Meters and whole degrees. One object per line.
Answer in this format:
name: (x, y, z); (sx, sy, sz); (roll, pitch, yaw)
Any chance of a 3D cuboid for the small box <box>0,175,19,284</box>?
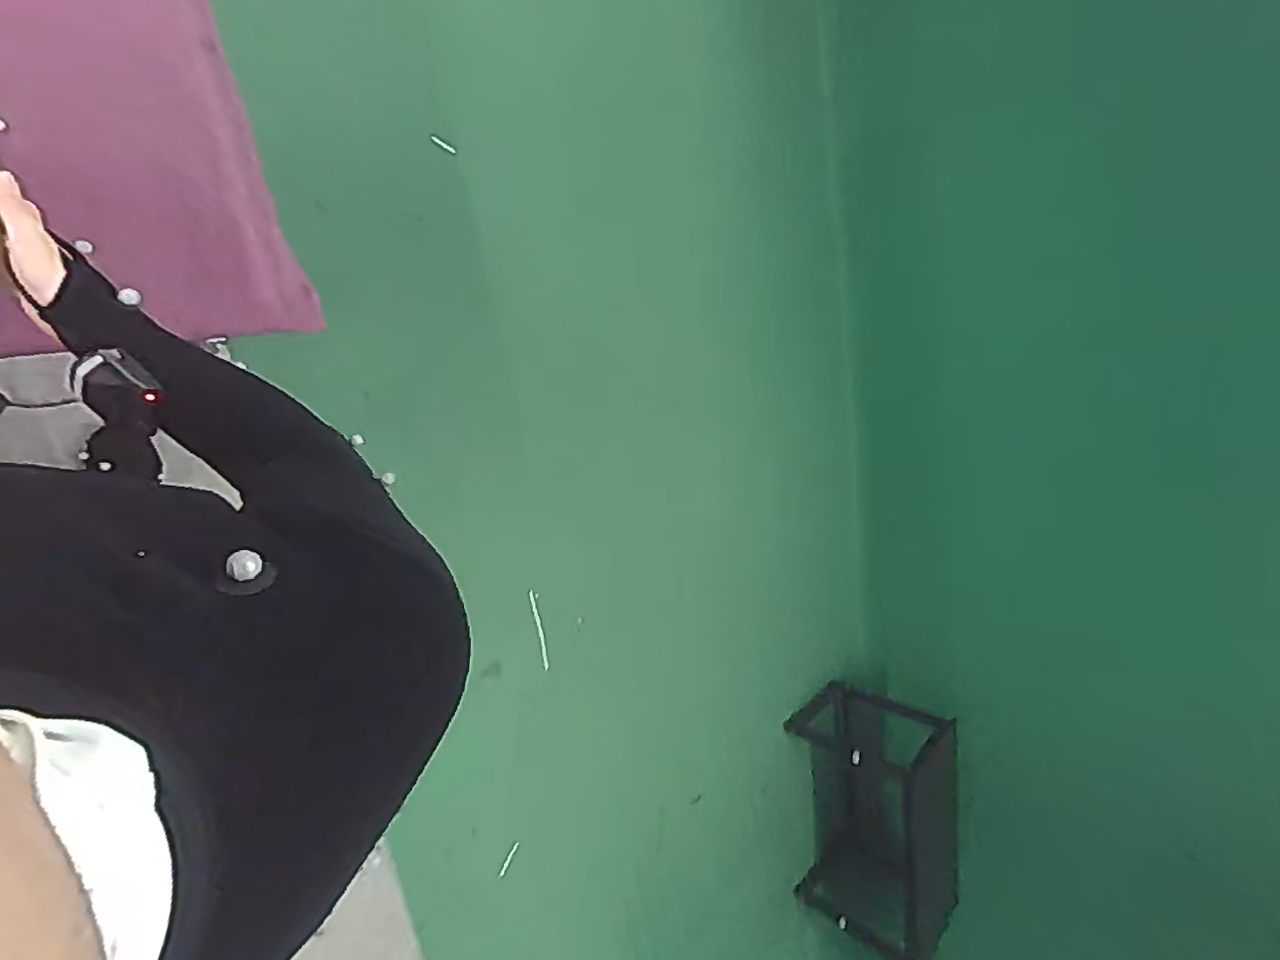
small box: (-0.658, -0.281, 0.442); (0.168, 0.176, 0.179); (-13, 93, -43)
